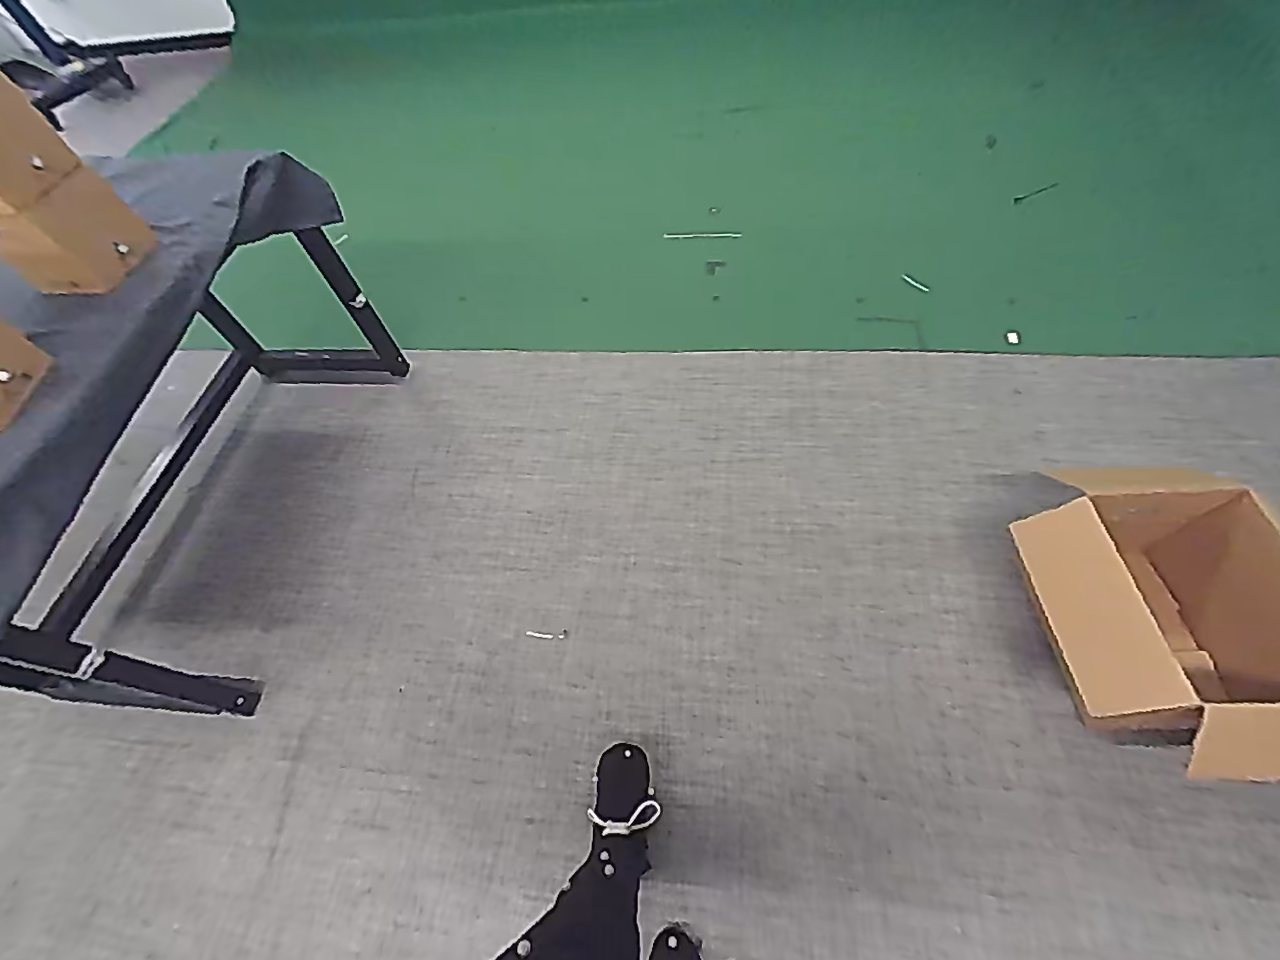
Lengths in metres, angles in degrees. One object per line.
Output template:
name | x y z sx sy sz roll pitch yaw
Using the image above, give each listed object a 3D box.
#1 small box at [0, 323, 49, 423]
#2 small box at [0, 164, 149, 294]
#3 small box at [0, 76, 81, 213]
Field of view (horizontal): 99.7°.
small box | -1.135 -0.182 0.858 0.179 0.176 0.168 -6 57 2
small box | -1.128 -0.488 1.055 0.168 0.176 0.179 3 57 8
small box | -1.146 -0.577 0.913 0.168 0.176 0.179 4 58 9
